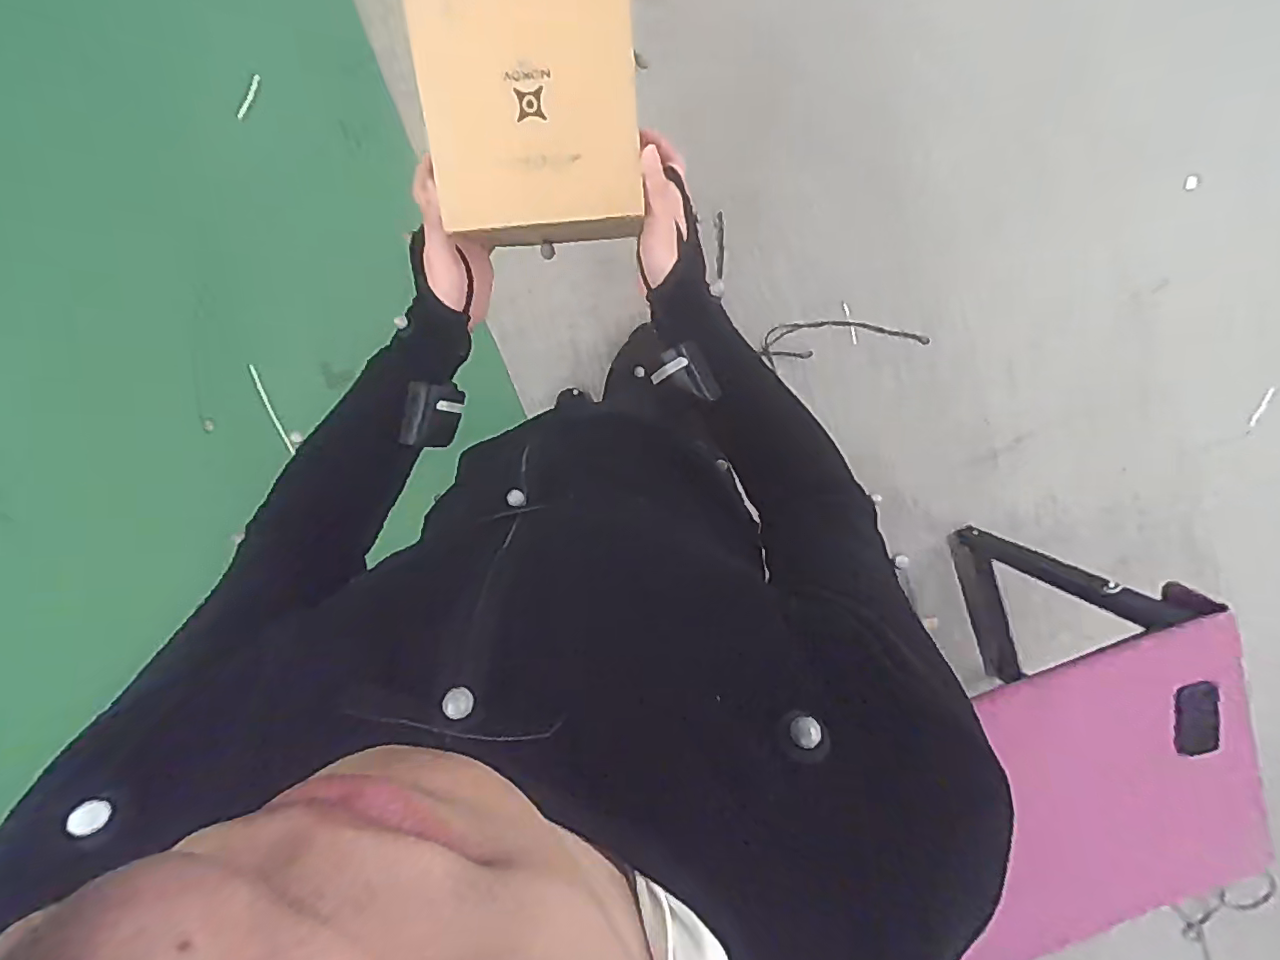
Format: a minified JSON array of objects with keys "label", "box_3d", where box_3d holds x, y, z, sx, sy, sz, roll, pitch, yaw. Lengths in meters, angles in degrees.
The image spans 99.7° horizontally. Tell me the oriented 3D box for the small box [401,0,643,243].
[{"label":"small box","box_3d":[-0.085,-0.314,0.472,0.168,0.176,0.179,-4,109,1]}]
